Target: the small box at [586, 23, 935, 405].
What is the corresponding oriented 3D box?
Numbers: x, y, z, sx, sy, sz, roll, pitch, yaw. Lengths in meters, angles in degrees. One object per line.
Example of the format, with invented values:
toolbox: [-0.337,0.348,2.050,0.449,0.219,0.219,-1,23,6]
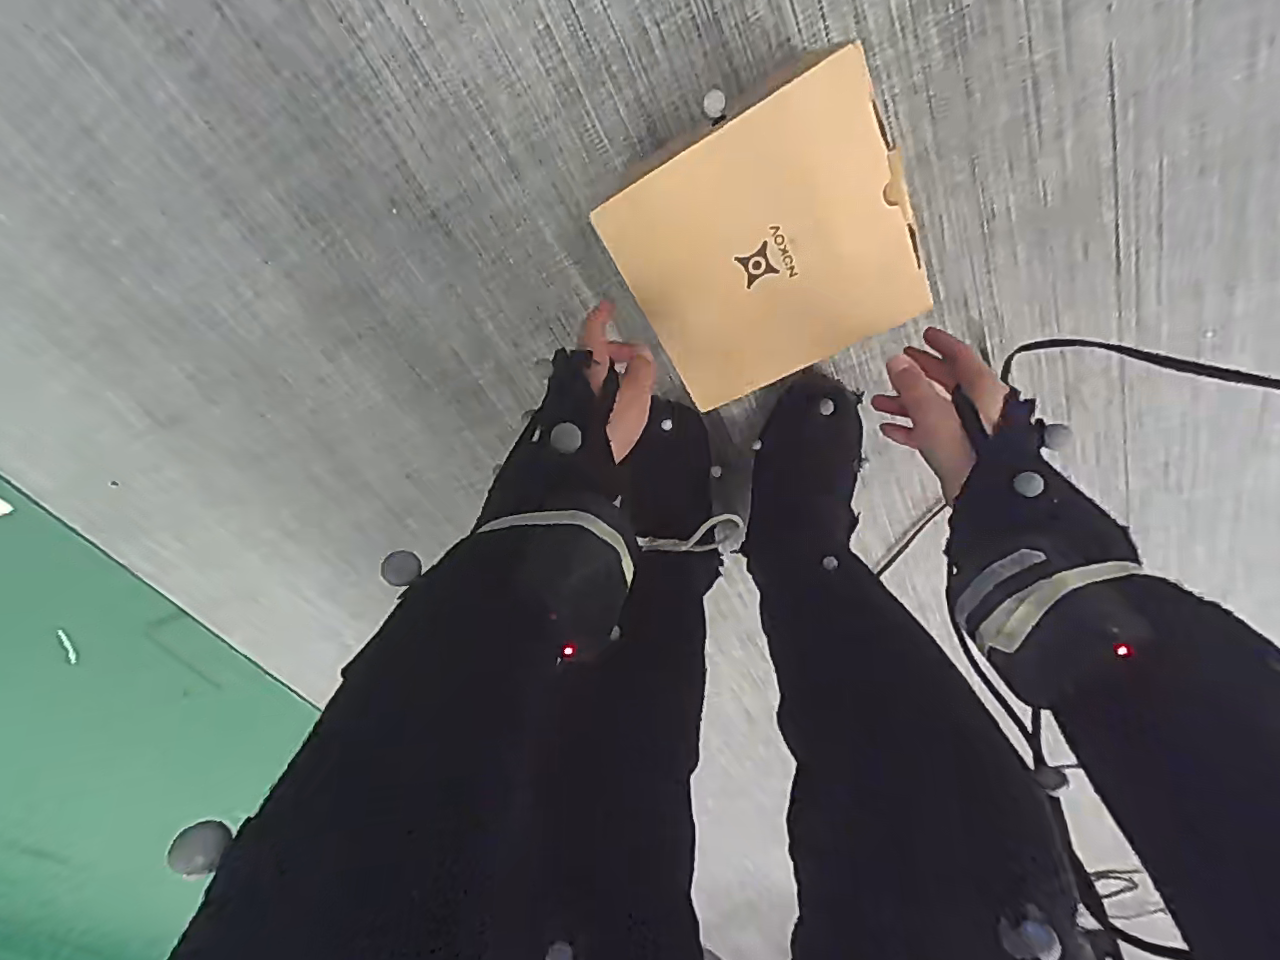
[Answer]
small box: [0.086,-0.191,0.408,0.179,0.176,0.168,-23,120,21]
